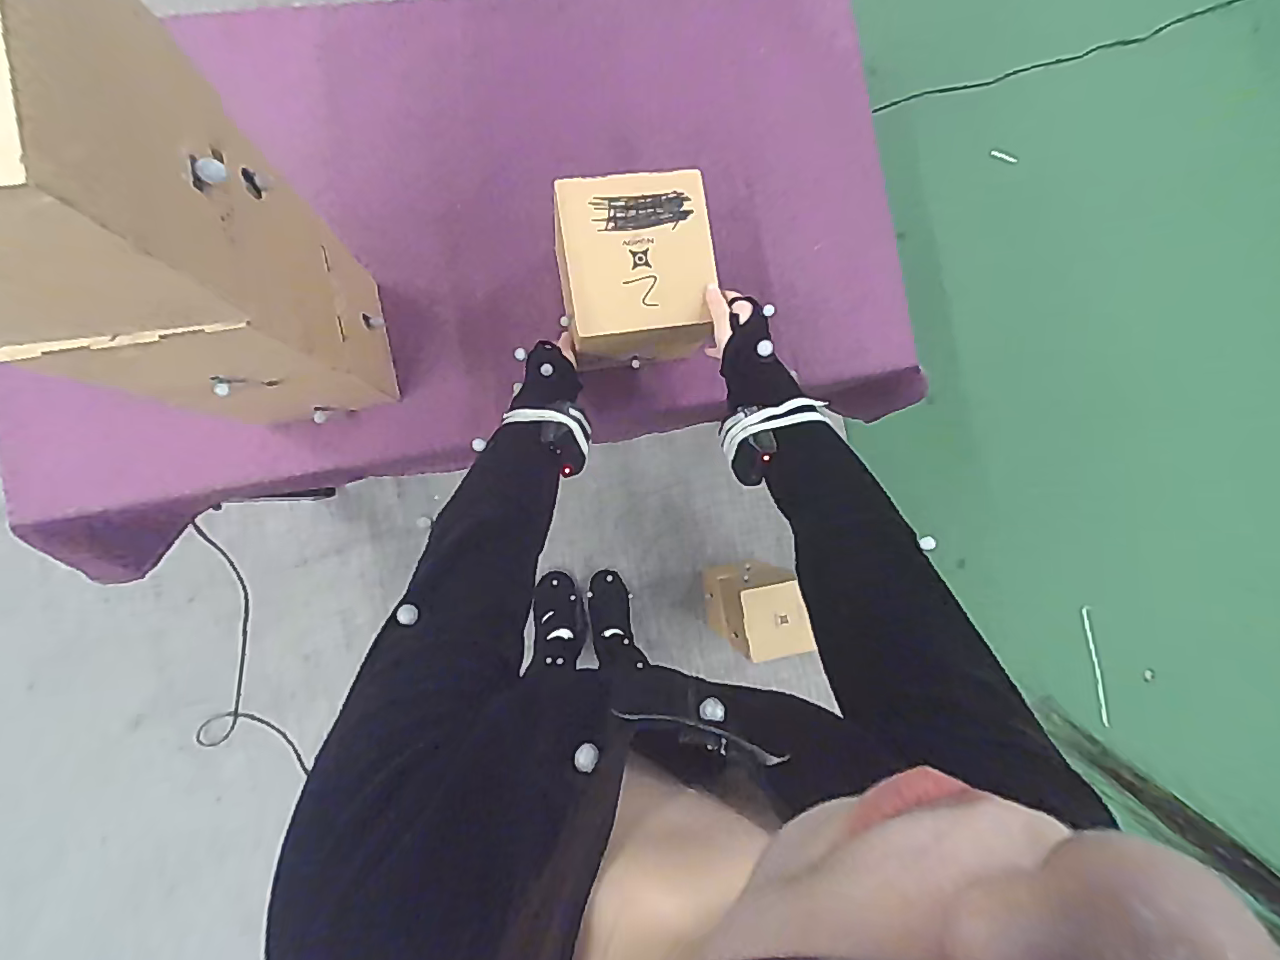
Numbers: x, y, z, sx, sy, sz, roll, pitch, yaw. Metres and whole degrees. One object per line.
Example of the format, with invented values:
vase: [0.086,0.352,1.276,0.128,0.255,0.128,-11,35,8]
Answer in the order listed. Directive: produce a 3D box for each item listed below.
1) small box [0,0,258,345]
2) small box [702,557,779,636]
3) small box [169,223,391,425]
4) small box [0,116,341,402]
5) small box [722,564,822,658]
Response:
small box: [-0.356,-0.182,0.295,0.179,0.176,0.168,-9,90,-9]
small box: [0.271,0.305,1.439,0.179,0.176,0.168,-7,90,-9]
small box: [-0.405,-0.166,0.621,0.179,0.176,0.168,-13,90,-9]
small box: [-0.383,-0.176,0.457,0.168,0.176,0.179,-11,90,-7]
small box: [0.301,0.302,1.279,0.179,0.176,0.168,-10,91,-9]
